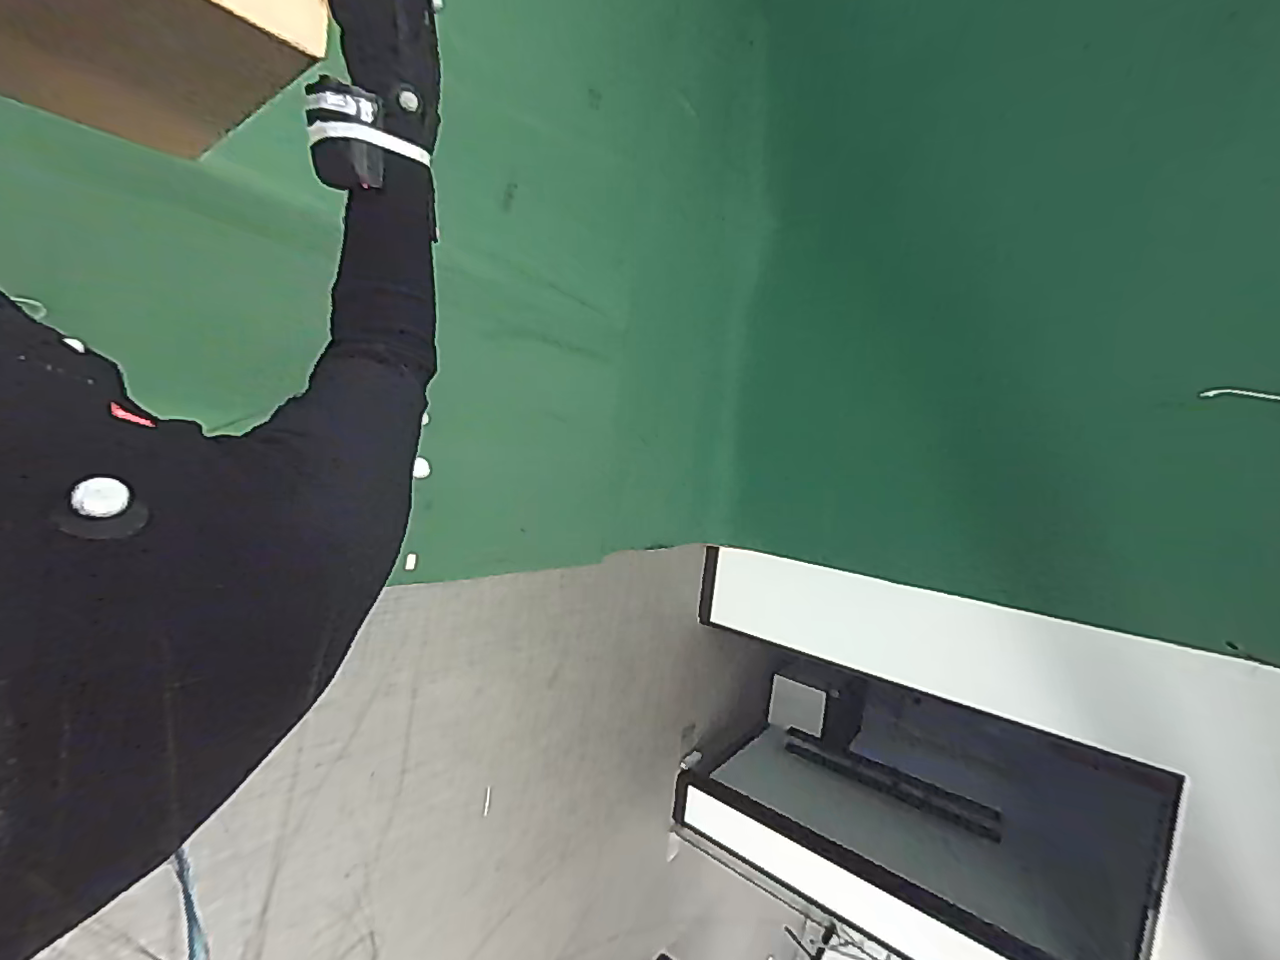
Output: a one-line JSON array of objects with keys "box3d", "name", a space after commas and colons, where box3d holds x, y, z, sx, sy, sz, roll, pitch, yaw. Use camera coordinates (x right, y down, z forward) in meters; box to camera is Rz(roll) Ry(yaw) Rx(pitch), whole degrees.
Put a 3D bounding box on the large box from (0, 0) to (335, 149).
[{"box3d": [-0.440, -0.457, 0.291, 0.408, 0.320, 0.320, -2, 100, -53], "name": "large box"}]
